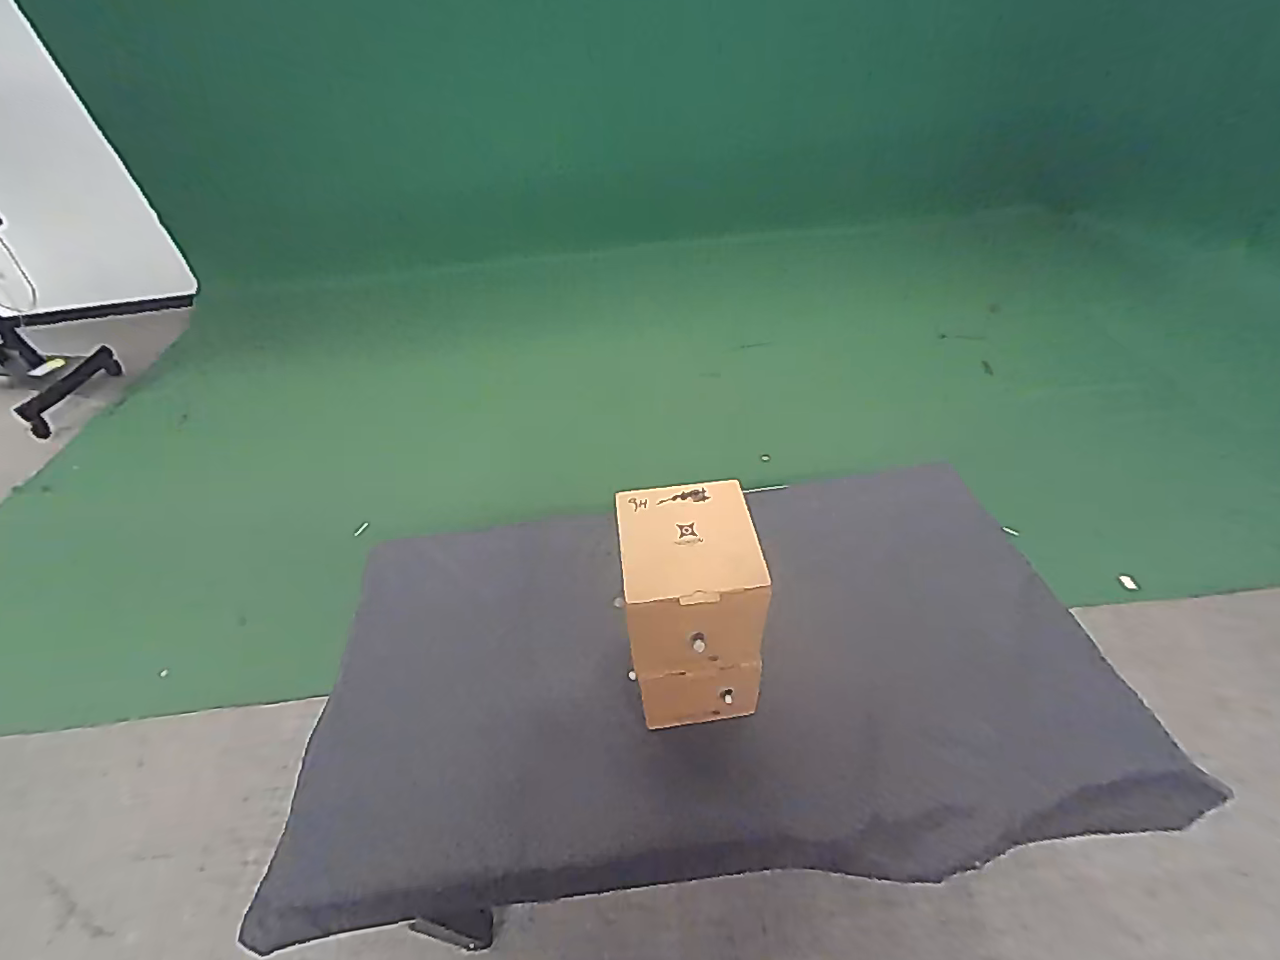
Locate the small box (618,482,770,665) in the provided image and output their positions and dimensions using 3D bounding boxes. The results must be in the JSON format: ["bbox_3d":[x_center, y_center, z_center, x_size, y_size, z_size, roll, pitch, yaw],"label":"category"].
[{"bbox_3d":[0.063,0.129,0.711,0.168,0.176,0.179,-6,46,-2],"label":"small box"}]

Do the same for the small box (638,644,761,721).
[{"bbox_3d":[0.077,0.248,0.823,0.168,0.176,0.179,-7,43,-3],"label":"small box"}]
